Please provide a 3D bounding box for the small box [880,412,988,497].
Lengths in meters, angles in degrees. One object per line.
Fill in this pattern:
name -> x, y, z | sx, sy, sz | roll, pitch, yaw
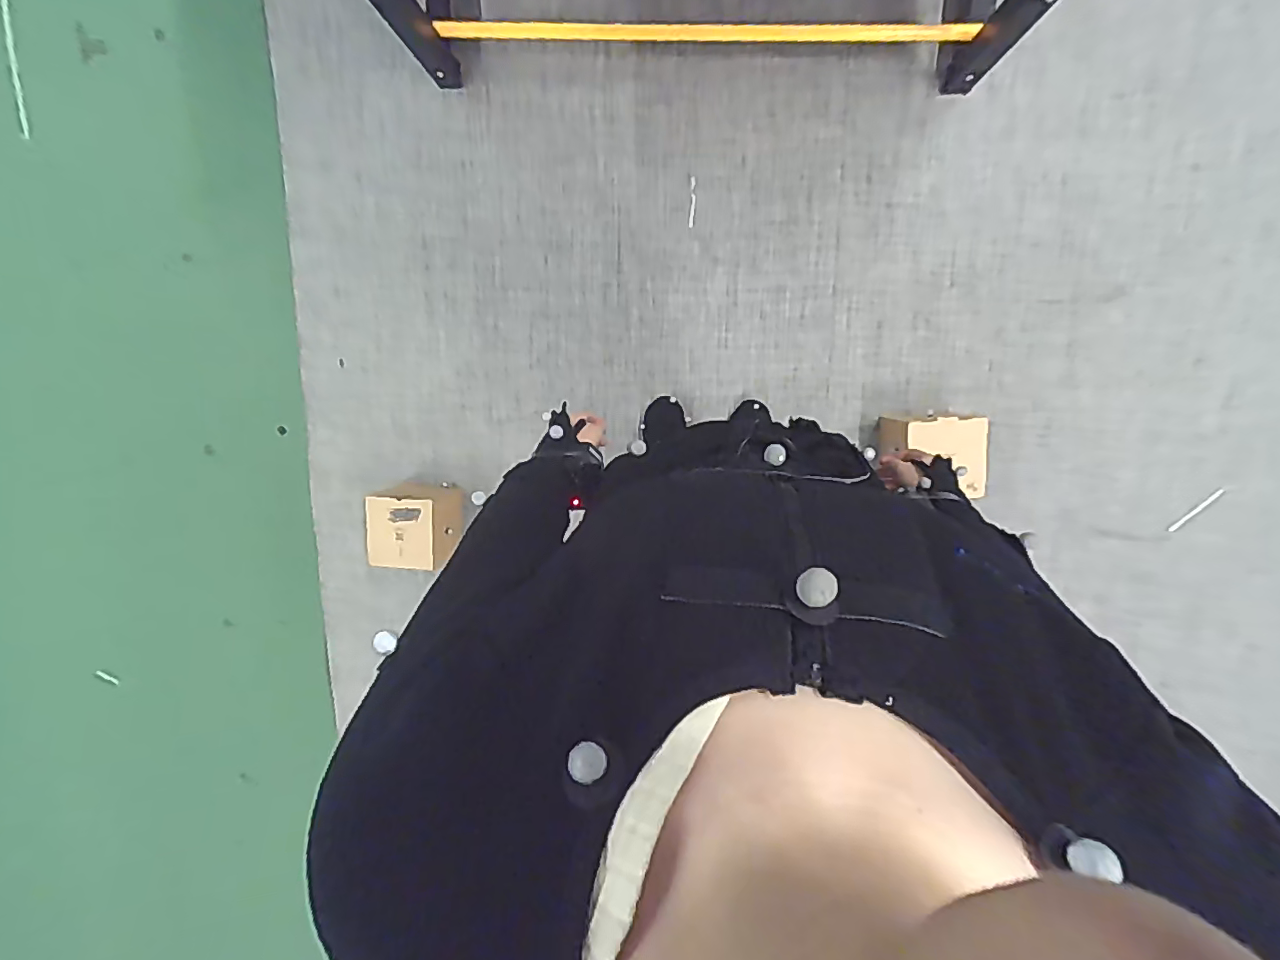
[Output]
small box -> 0.659, -0.064, 1.229 | 0.168, 0.176, 0.179 | -3, 99, 5

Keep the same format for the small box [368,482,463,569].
small box -> -0.555, 0.107, 1.351 | 0.168, 0.176, 0.179 | 4, 101, 4
